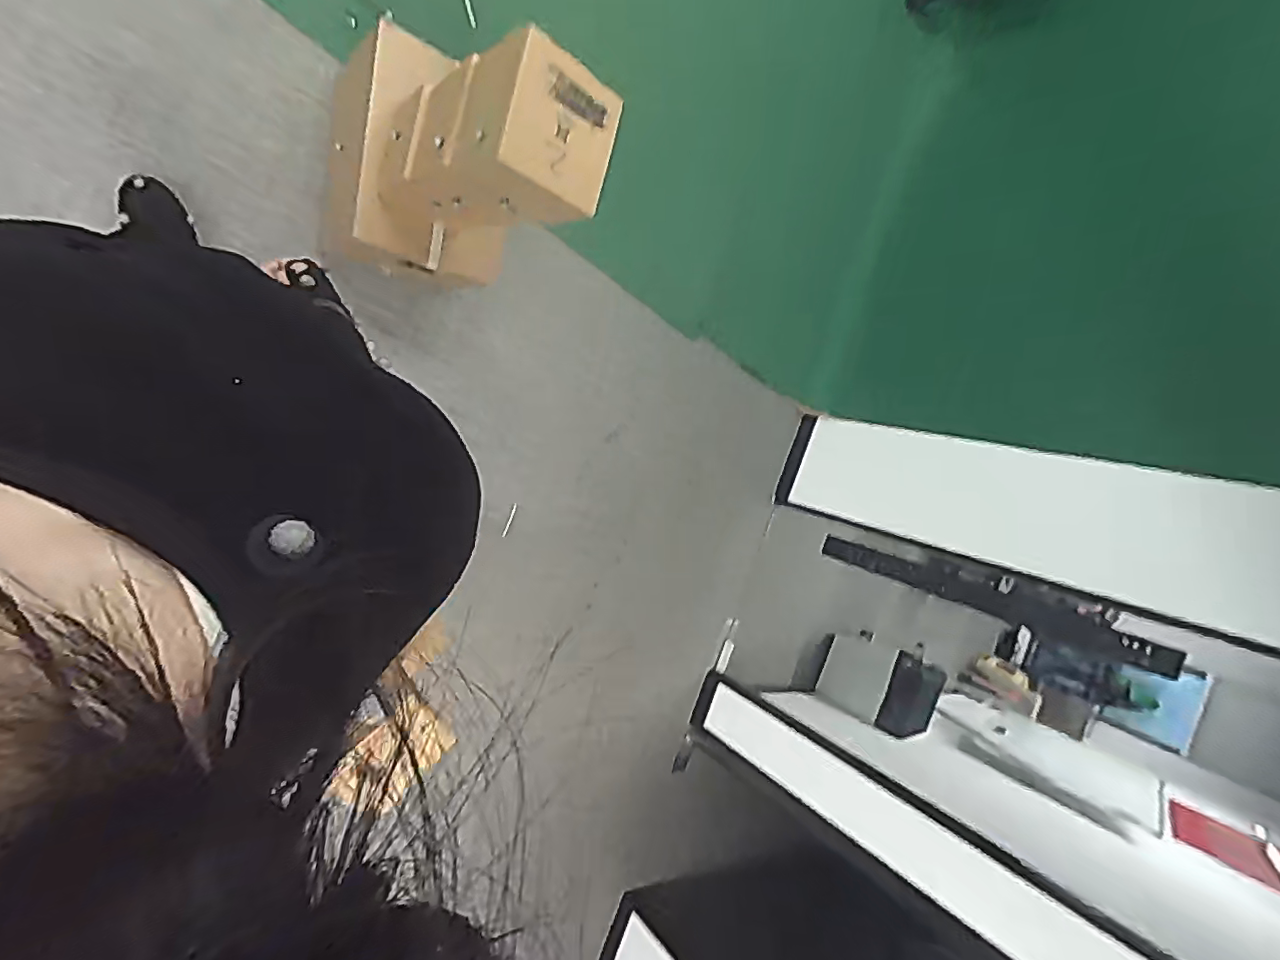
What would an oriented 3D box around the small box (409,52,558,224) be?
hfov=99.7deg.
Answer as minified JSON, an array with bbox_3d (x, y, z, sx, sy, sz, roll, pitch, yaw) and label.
[{"bbox_3d":[-0.271,-0.564,0.921,0.168,0.176,0.179,14,95,-44],"label":"small box"}]

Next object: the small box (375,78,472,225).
[{"bbox_3d":[-0.382,-0.607,1.032,0.179,0.176,0.168,12,96,-44],"label":"small box"}]

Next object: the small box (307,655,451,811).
[{"bbox_3d":[-0.507,0.477,1.041,0.179,0.176,0.168,-43,129,-26],"label":"small box"}]

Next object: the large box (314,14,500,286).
[{"bbox_3d":[-0.517,-0.688,1.224,0.320,0.320,0.408,4,100,-45],"label":"large box"}]
